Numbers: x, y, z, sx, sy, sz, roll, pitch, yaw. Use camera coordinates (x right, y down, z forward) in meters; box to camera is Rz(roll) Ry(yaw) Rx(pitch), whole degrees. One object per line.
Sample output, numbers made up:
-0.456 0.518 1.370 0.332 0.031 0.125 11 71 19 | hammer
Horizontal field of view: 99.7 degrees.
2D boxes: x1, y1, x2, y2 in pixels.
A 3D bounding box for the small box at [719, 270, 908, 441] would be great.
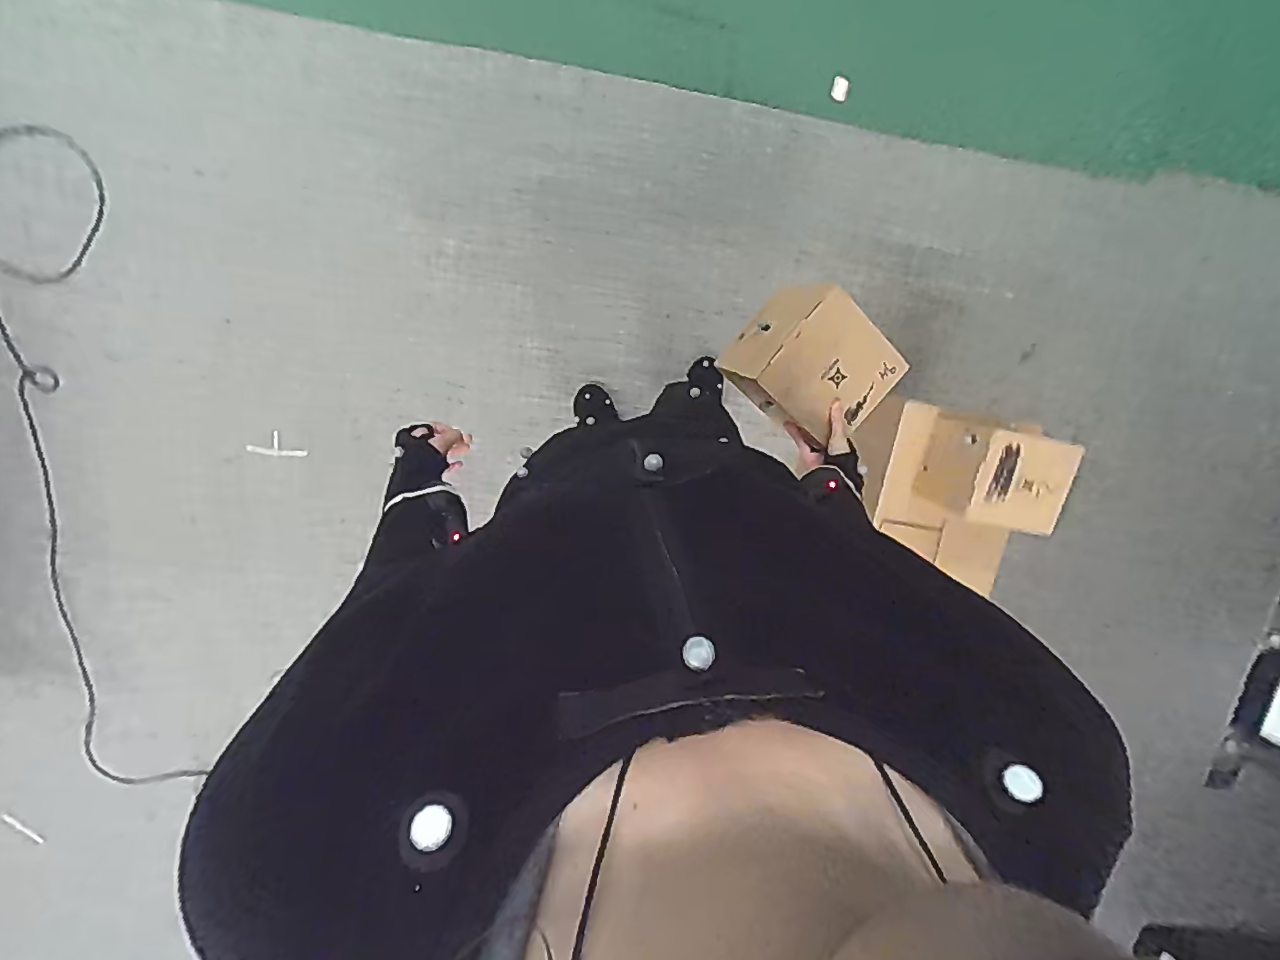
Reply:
0.248 -0.187 0.815 0.179 0.176 0.168 36 98 -20 | small box
